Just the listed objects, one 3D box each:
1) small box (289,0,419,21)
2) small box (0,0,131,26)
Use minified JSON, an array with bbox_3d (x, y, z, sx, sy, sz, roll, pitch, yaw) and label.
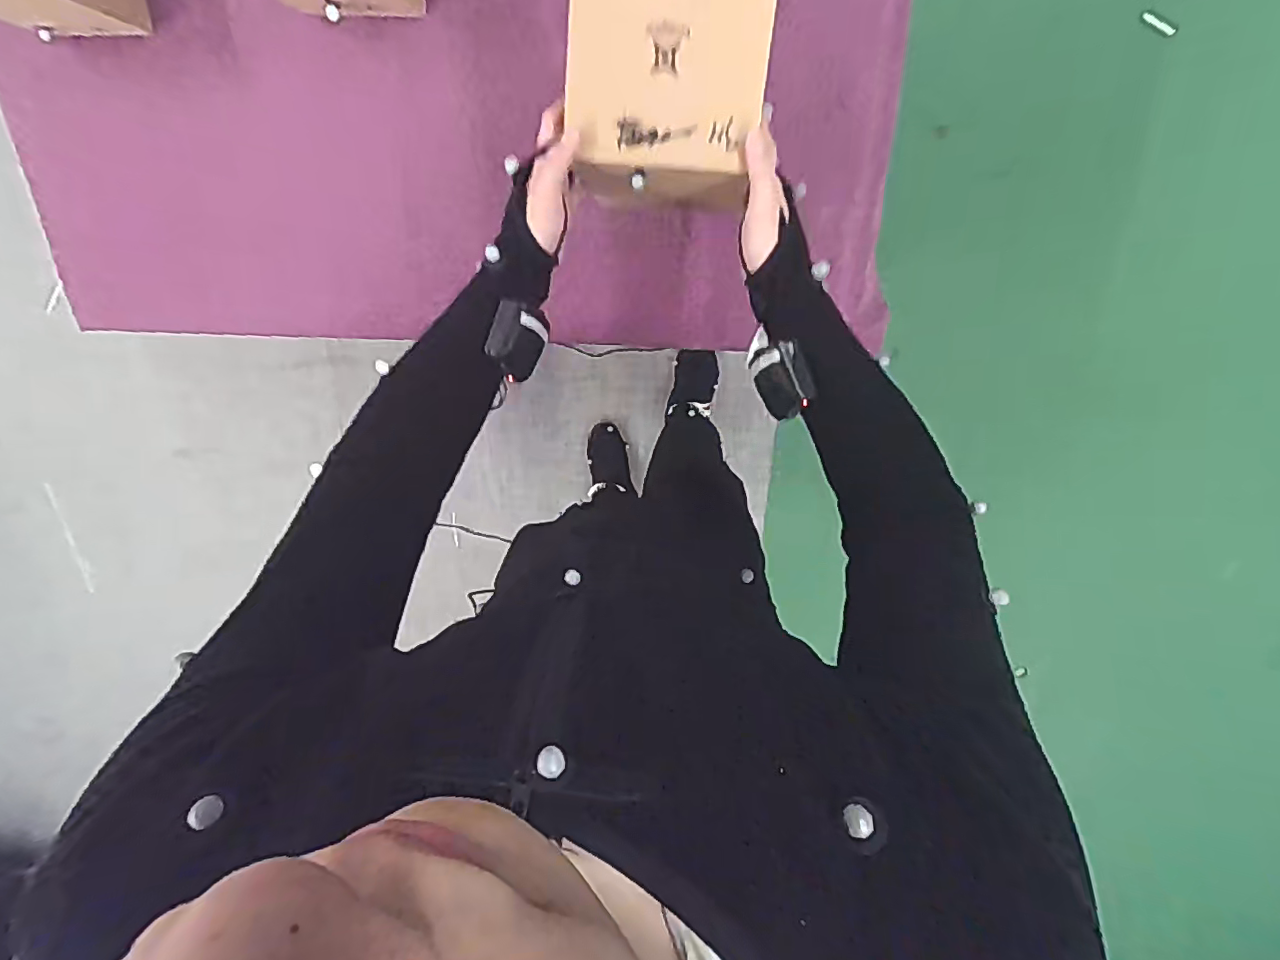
[{"bbox_3d":[-0.349,-0.619,0.558,0.168,0.176,0.179,6,114,5],"label":"small box"},{"bbox_3d":[-0.725,-0.631,0.591,0.168,0.176,0.179,4,113,4],"label":"small box"}]
